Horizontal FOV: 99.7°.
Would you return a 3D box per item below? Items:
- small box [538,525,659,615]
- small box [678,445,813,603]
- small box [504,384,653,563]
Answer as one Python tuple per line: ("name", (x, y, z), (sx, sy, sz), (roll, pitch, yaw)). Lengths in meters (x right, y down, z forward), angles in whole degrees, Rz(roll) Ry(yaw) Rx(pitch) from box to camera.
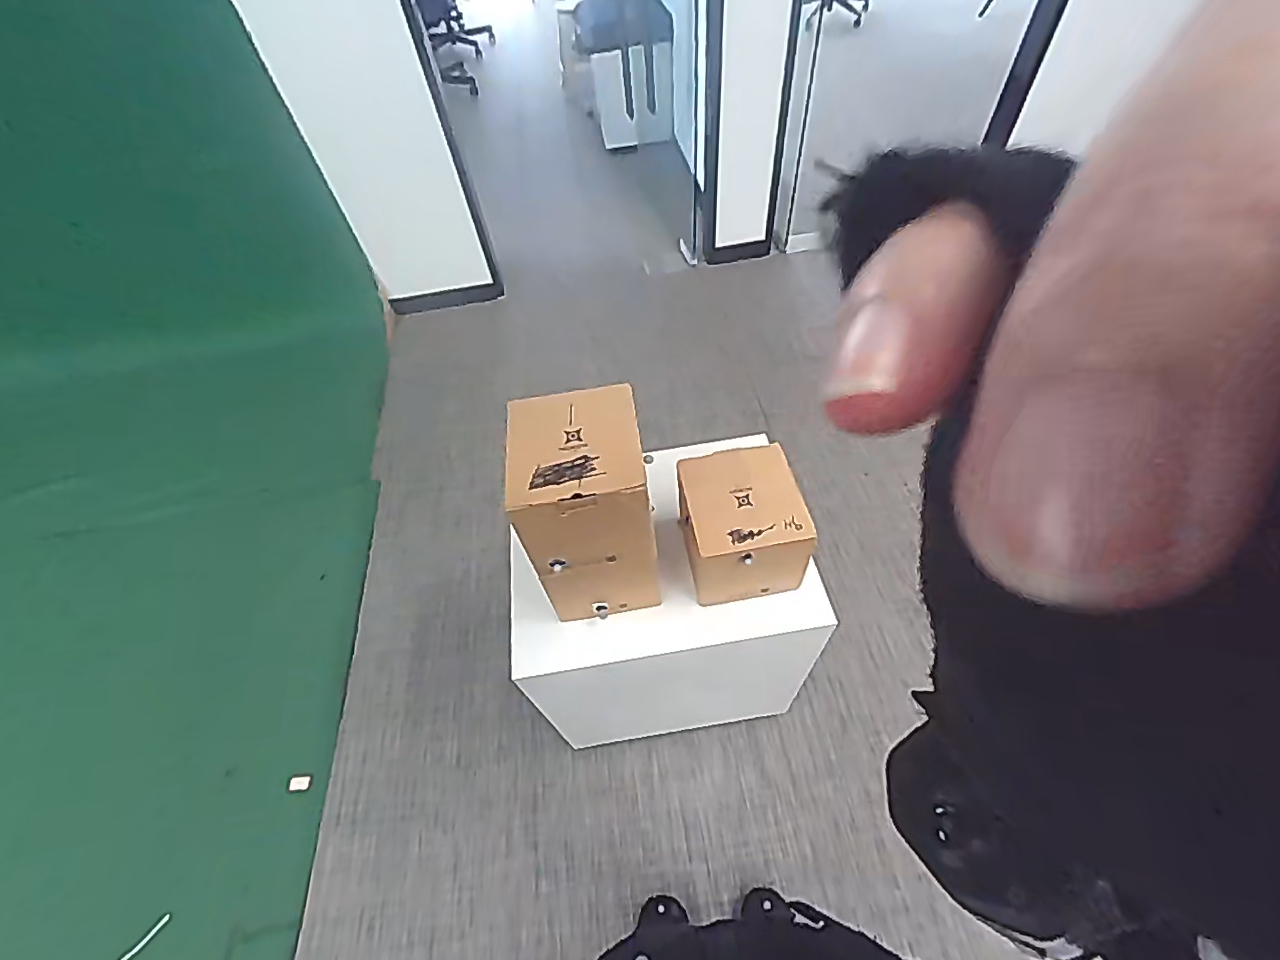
("small box", (-0.066, 0.089, 0.850), (0.168, 0.176, 0.179), (-11, 54, -2))
("small box", (0.154, 0.071, 0.859), (0.168, 0.176, 0.179), (-9, 52, -1))
("small box", (-0.077, 0.000, 0.733), (0.168, 0.176, 0.179), (-8, 52, 0))
